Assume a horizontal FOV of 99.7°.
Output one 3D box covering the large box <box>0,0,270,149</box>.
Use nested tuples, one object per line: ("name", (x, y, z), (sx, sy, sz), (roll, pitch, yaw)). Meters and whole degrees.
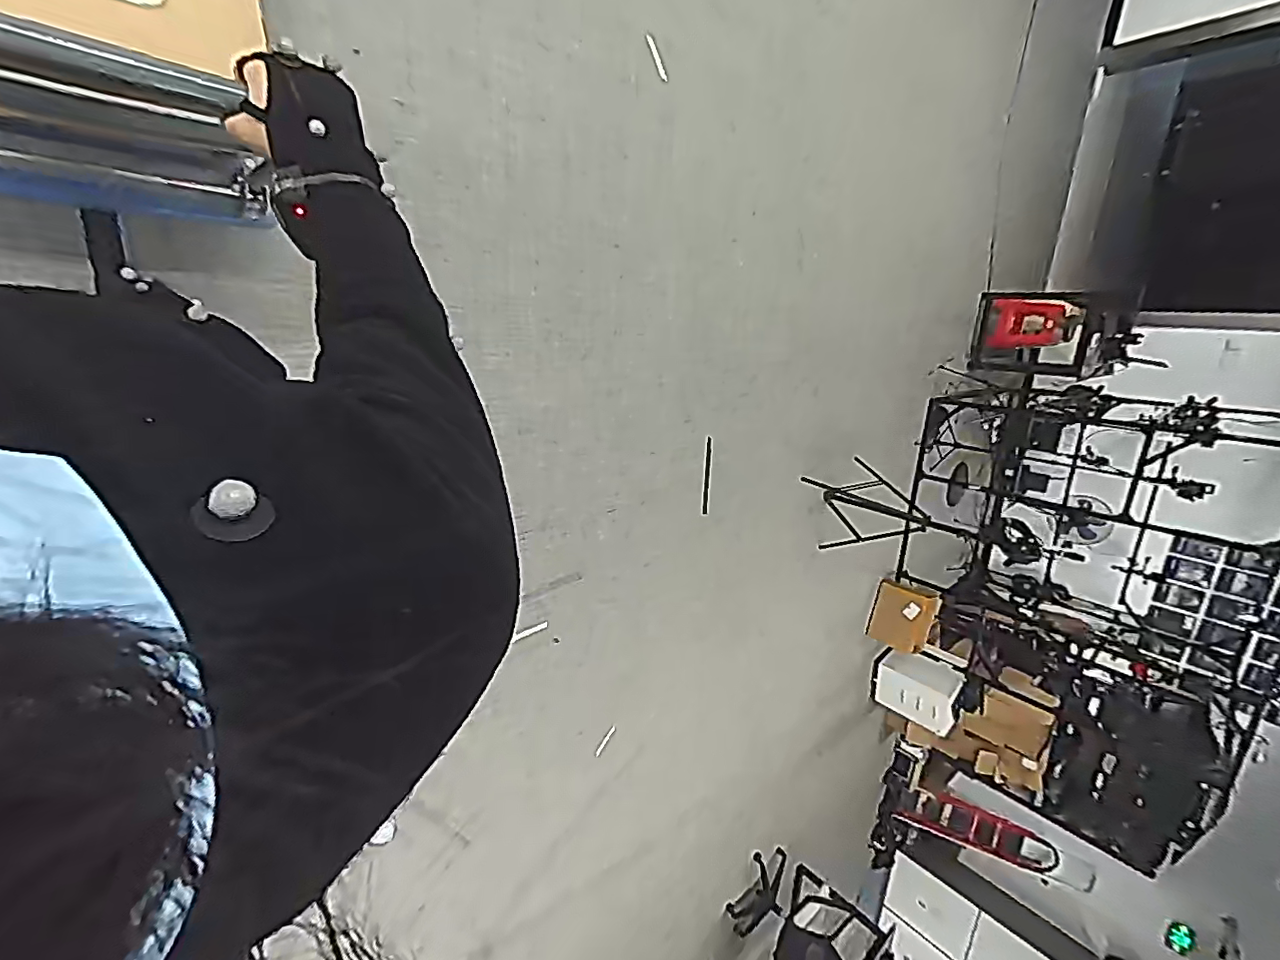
("large box", (-0.786, -0.673, 0.714), (0.408, 0.320, 0.320), (-16, 115, -42))
